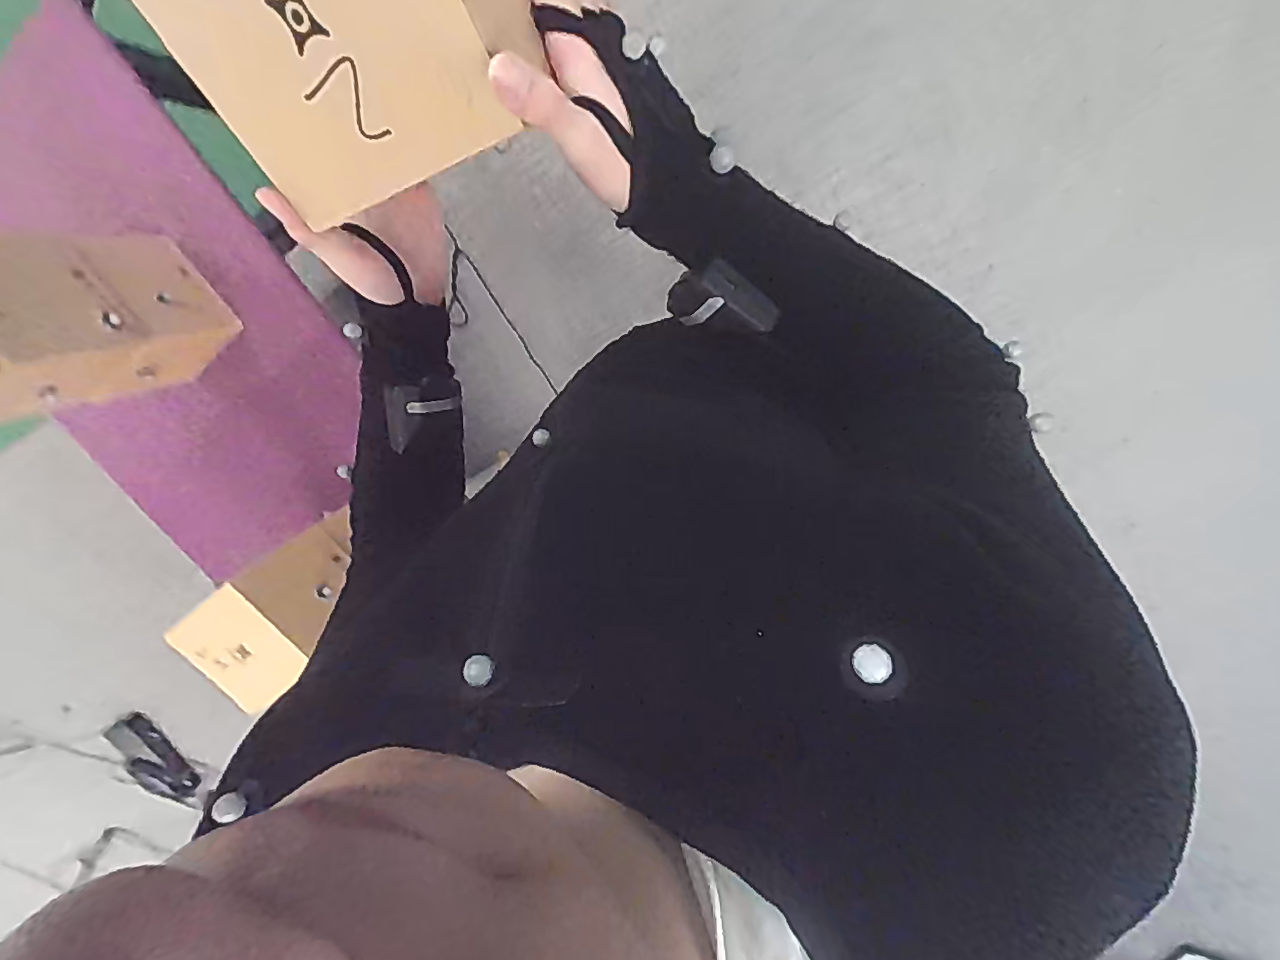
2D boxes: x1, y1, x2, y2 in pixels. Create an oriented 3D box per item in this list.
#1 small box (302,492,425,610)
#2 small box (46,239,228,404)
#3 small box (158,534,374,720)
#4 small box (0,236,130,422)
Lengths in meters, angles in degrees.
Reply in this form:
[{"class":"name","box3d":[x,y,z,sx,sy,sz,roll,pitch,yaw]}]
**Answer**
[{"class":"small box","box3d":[-0.521,0.153,0.956,0.179,0.176,0.168,-34,105,21]},{"class":"small box","box3d":[-0.786,-0.248,0.825,0.179,0.176,0.168,-29,107,21]},{"class":"small box","box3d":[-0.532,0.209,0.800,0.179,0.176,0.168,-33,104,20]},{"class":"small box","box3d":[-0.806,-0.185,0.673,0.179,0.176,0.168,-27,107,21]}]
